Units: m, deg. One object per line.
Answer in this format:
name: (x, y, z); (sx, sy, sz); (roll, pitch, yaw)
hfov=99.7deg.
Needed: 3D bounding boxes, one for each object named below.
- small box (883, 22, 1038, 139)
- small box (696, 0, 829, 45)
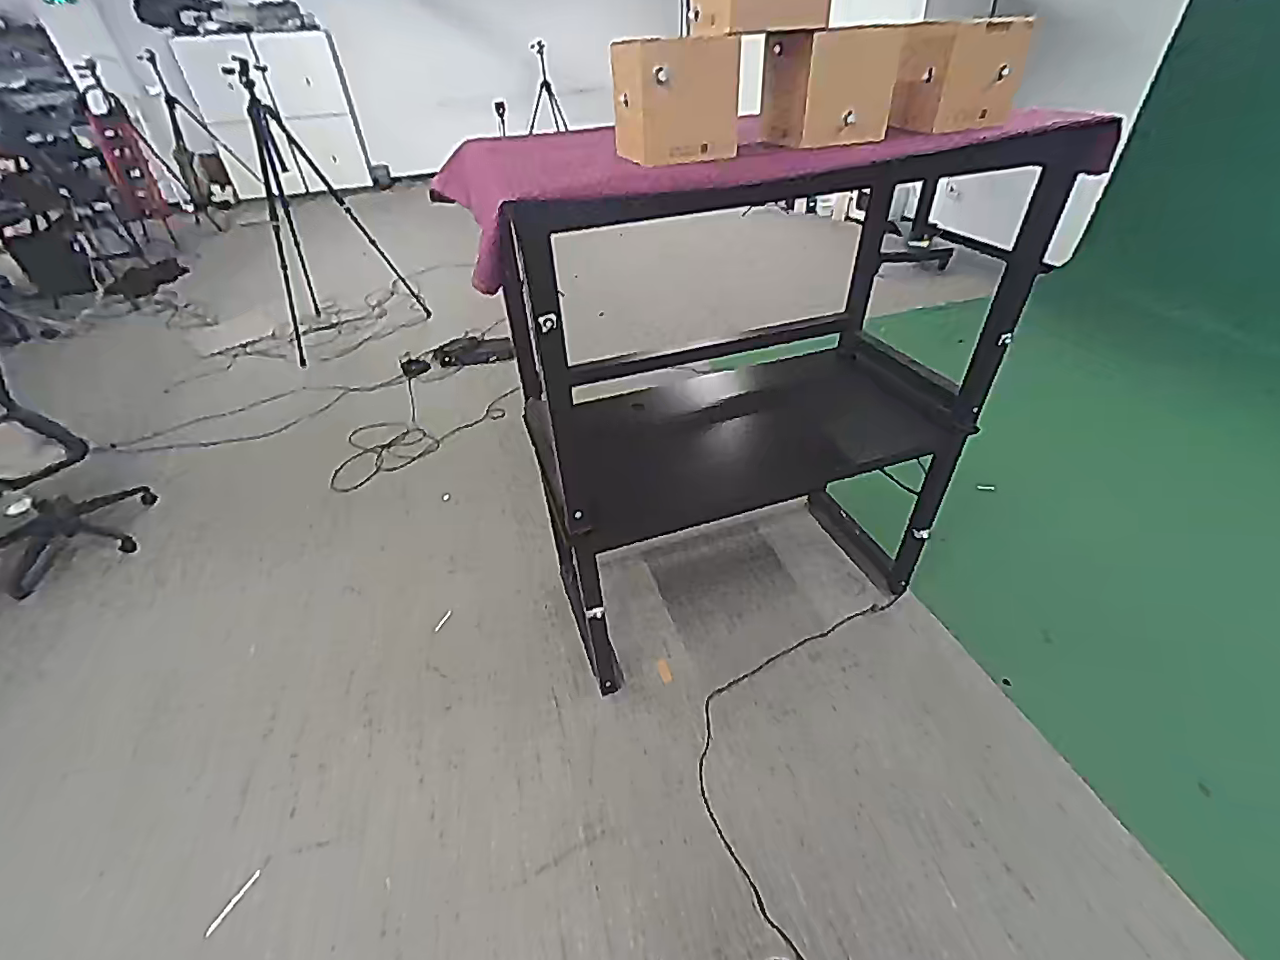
small box: (0.605, -0.769, 1.046); (0.168, 0.176, 0.179); (-11, 39, -10)
small box: (0.193, -0.799, 0.852); (0.179, 0.176, 0.168); (-12, 39, -12)
